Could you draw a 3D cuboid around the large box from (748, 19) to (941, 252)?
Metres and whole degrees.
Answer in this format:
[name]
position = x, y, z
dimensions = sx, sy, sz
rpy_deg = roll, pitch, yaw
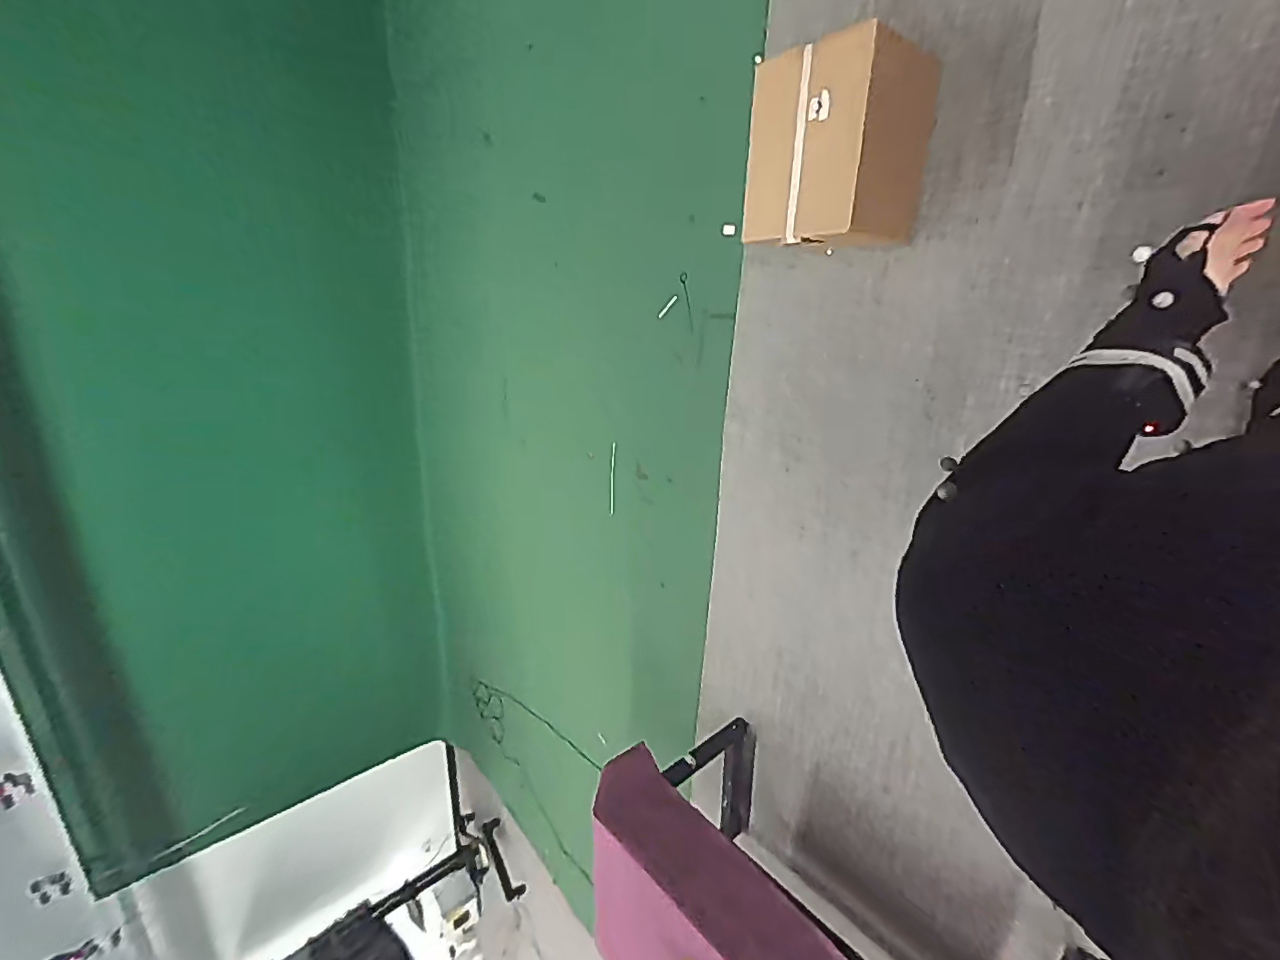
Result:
[large box]
position = 0.502, -0.811, 1.357
dimensions = 0.320, 0.320, 0.408
rpy_deg = 21, 115, 46
